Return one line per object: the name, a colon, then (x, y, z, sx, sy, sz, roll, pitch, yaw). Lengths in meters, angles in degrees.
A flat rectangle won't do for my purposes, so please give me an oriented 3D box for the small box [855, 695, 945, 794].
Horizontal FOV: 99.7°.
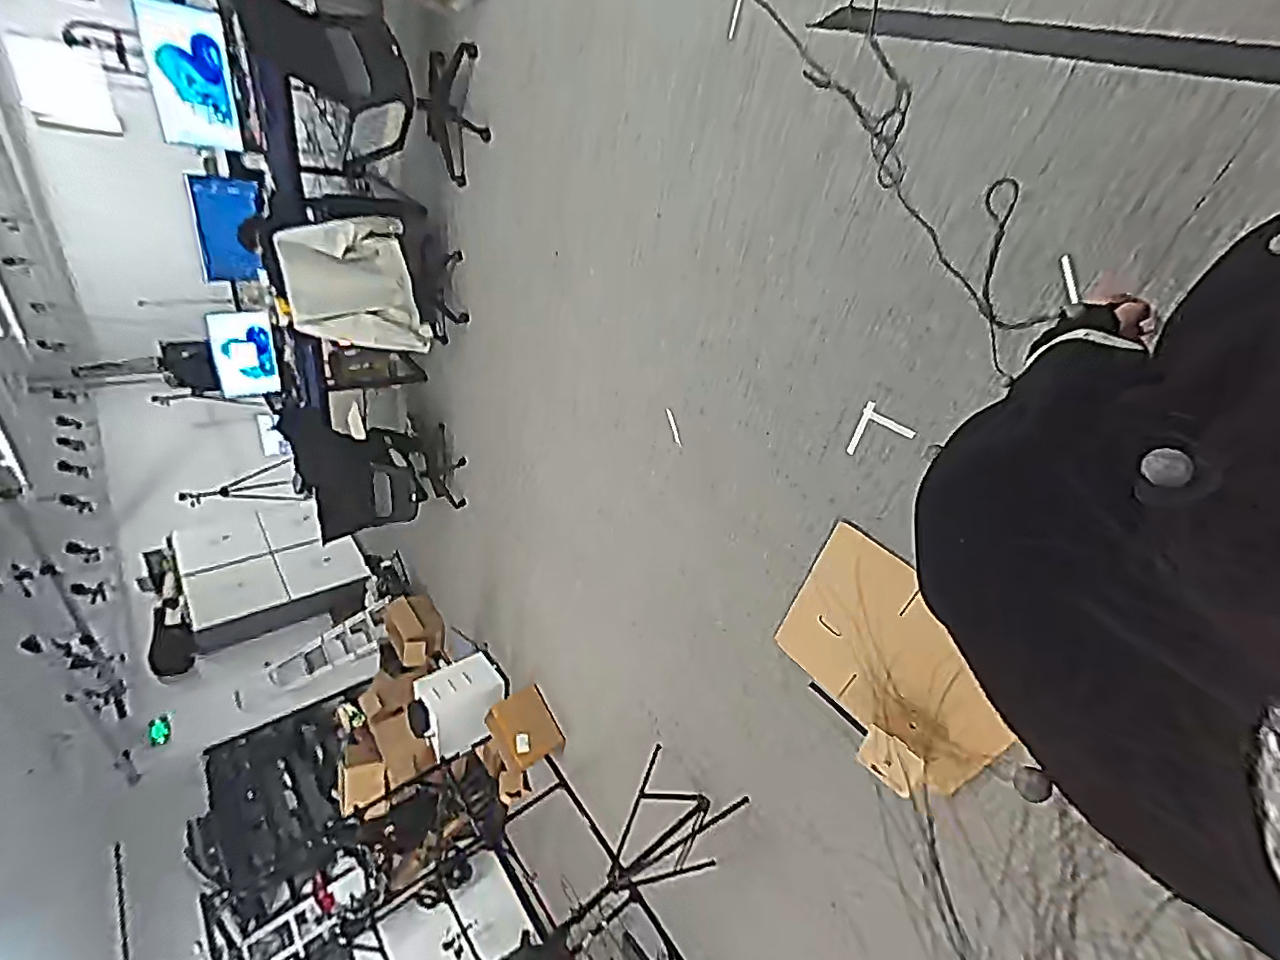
small box: (0.788, 0.790, 1.633, 0.168, 0.176, 0.179, 34, 128, 38)
